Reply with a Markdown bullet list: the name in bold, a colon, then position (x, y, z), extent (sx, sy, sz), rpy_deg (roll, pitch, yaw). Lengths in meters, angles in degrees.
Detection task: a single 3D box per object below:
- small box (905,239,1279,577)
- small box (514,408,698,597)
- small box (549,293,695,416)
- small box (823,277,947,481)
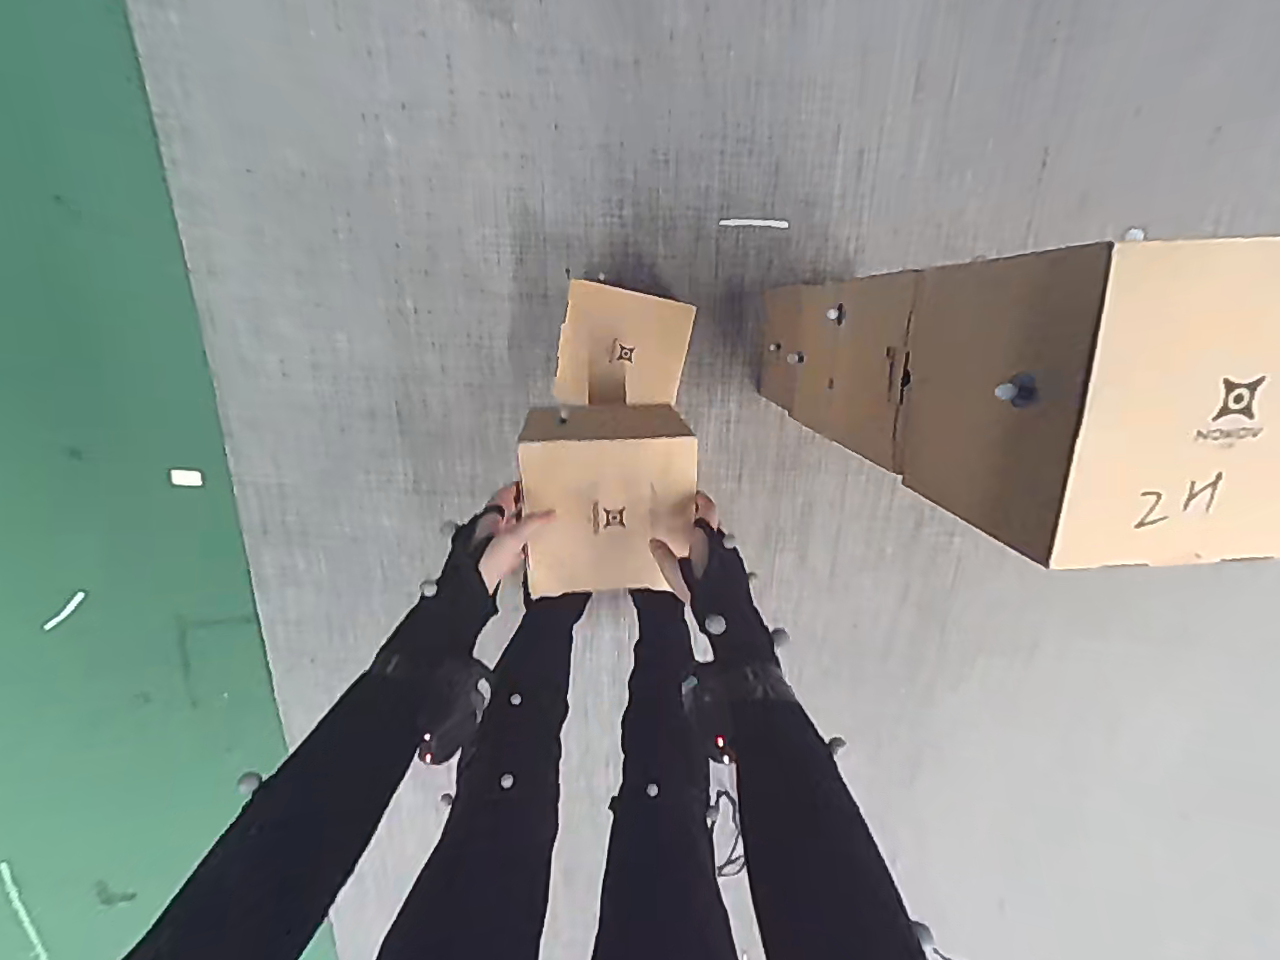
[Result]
- **small box**: position (0.300, -0.053, 0.358), extent (0.168, 0.176, 0.179), rpy_deg (-2, 106, -1)
- **small box**: position (-0.040, 0.016, 0.610), extent (0.179, 0.176, 0.168), rpy_deg (-1, 110, -6)
- **small box**: position (-0.028, -0.180, 0.821), extent (0.179, 0.176, 0.168), rpy_deg (12, 106, -5)
- **small box**: position (0.290, -0.099, 0.516), extent (0.179, 0.176, 0.168), rpy_deg (-1, 106, -3)
